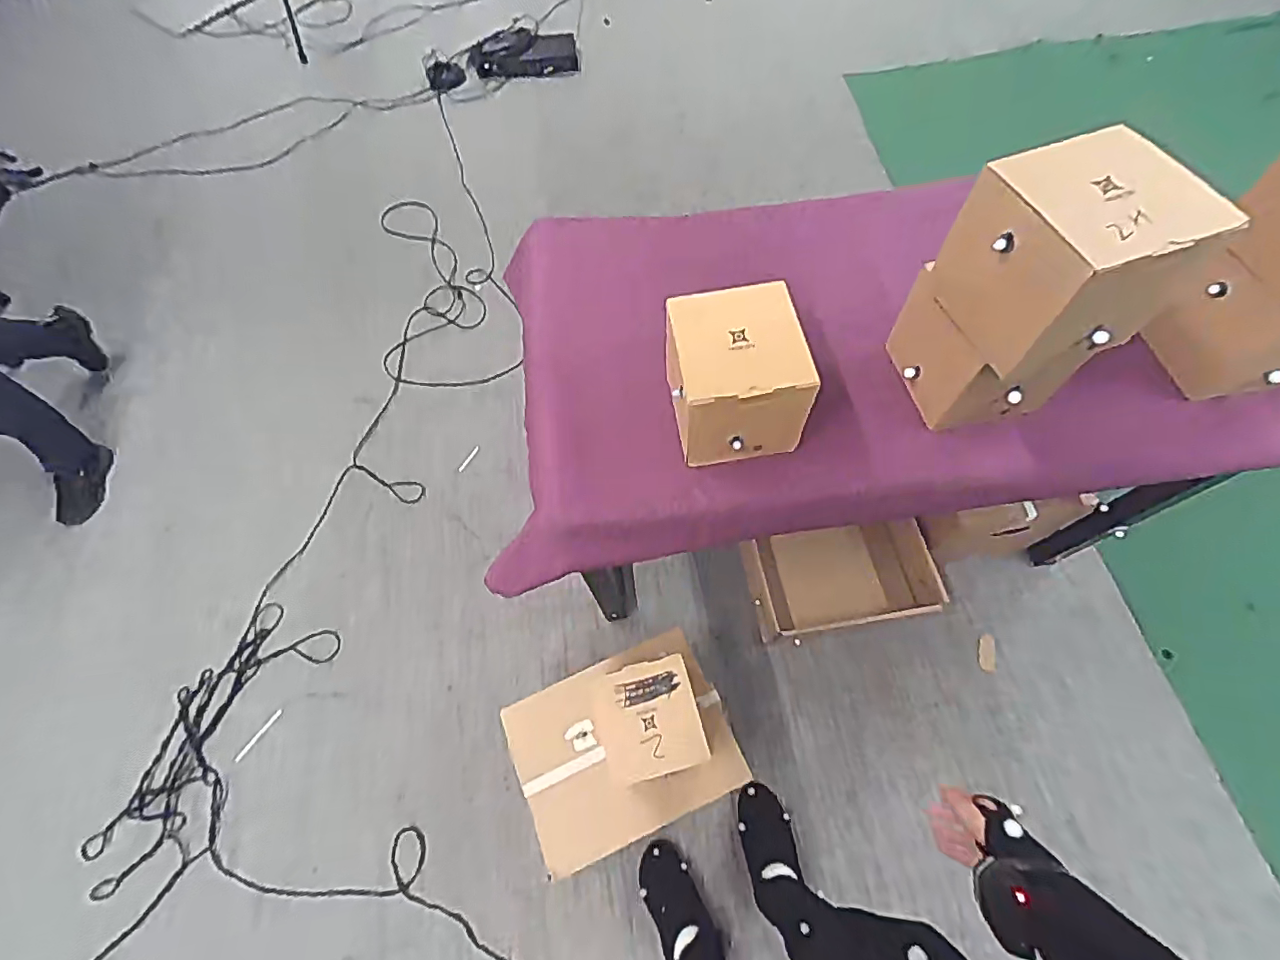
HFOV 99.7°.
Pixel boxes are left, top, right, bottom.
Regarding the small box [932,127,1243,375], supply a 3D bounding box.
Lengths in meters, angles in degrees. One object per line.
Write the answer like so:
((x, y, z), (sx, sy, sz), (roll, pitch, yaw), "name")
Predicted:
((0.473, -0.251, 0.612), (0.168, 0.176, 0.179), (-18, 63, -4), "small box")

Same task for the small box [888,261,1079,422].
((0.487, -0.198, 0.770), (0.168, 0.176, 0.179), (-11, 63, -2), "small box")

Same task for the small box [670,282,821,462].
((0.135, -0.149, 0.772), (0.168, 0.176, 0.179), (-9, 64, -1), "small box")

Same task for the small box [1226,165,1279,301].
((0.849, -0.314, 0.617), (0.168, 0.176, 0.179), (-11, 62, 0), "small box")

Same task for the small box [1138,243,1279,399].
((0.867, -0.240, 0.761), (0.168, 0.176, 0.179), (-8, 63, 1), "small box")
